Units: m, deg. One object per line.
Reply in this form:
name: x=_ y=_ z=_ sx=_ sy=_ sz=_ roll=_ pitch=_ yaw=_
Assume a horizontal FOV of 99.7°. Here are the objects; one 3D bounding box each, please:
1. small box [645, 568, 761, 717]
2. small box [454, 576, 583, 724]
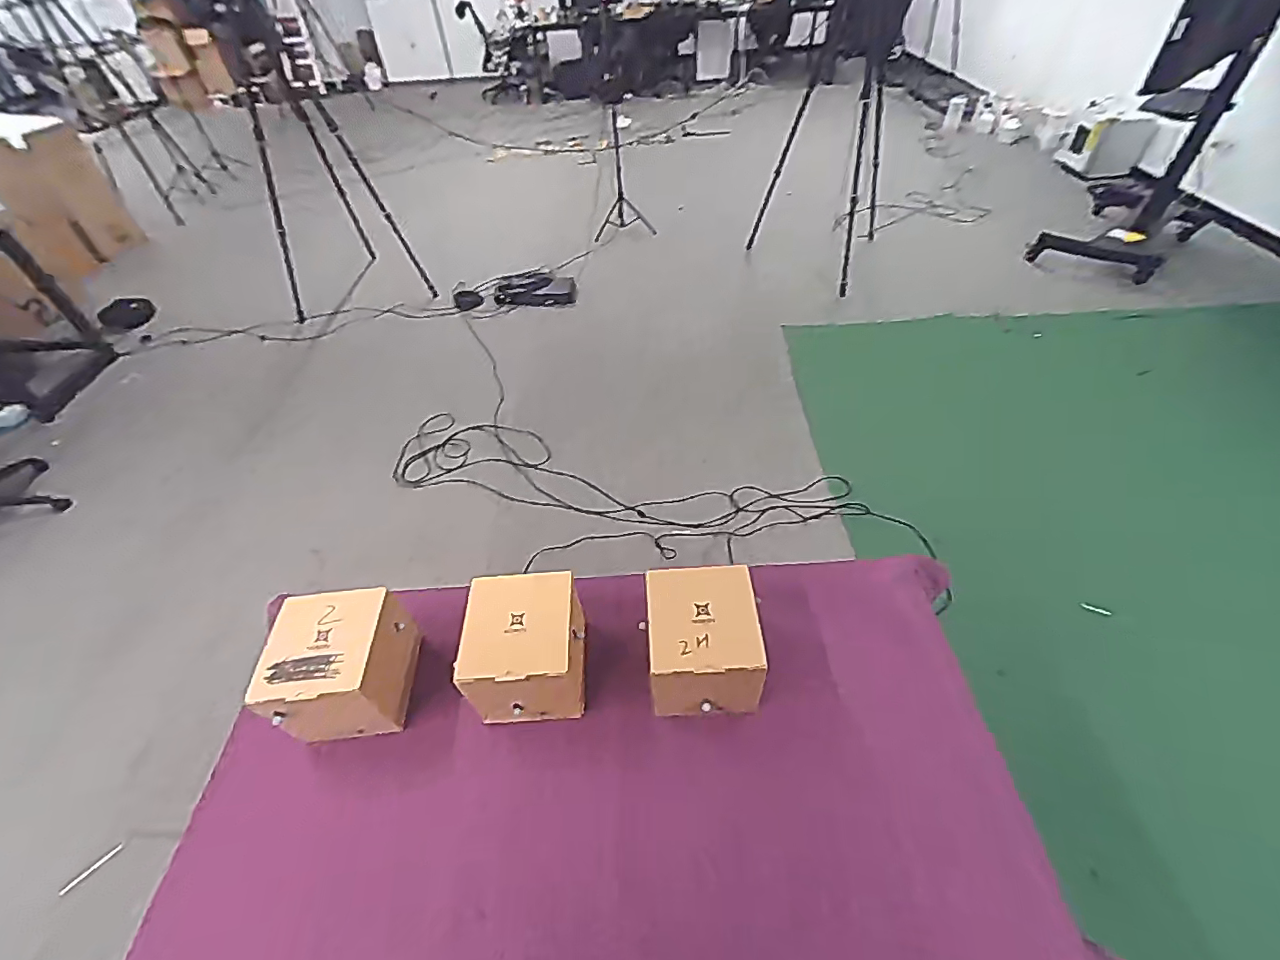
small box: x=0.094 y=0.264 z=0.877 sx=0.168 sy=0.176 sz=0.179 roll=-4 pitch=47 yaw=2
small box: x=-0.188 y=0.280 z=0.891 sx=0.168 sy=0.176 sz=0.179 roll=-5 pitch=48 yaw=1
